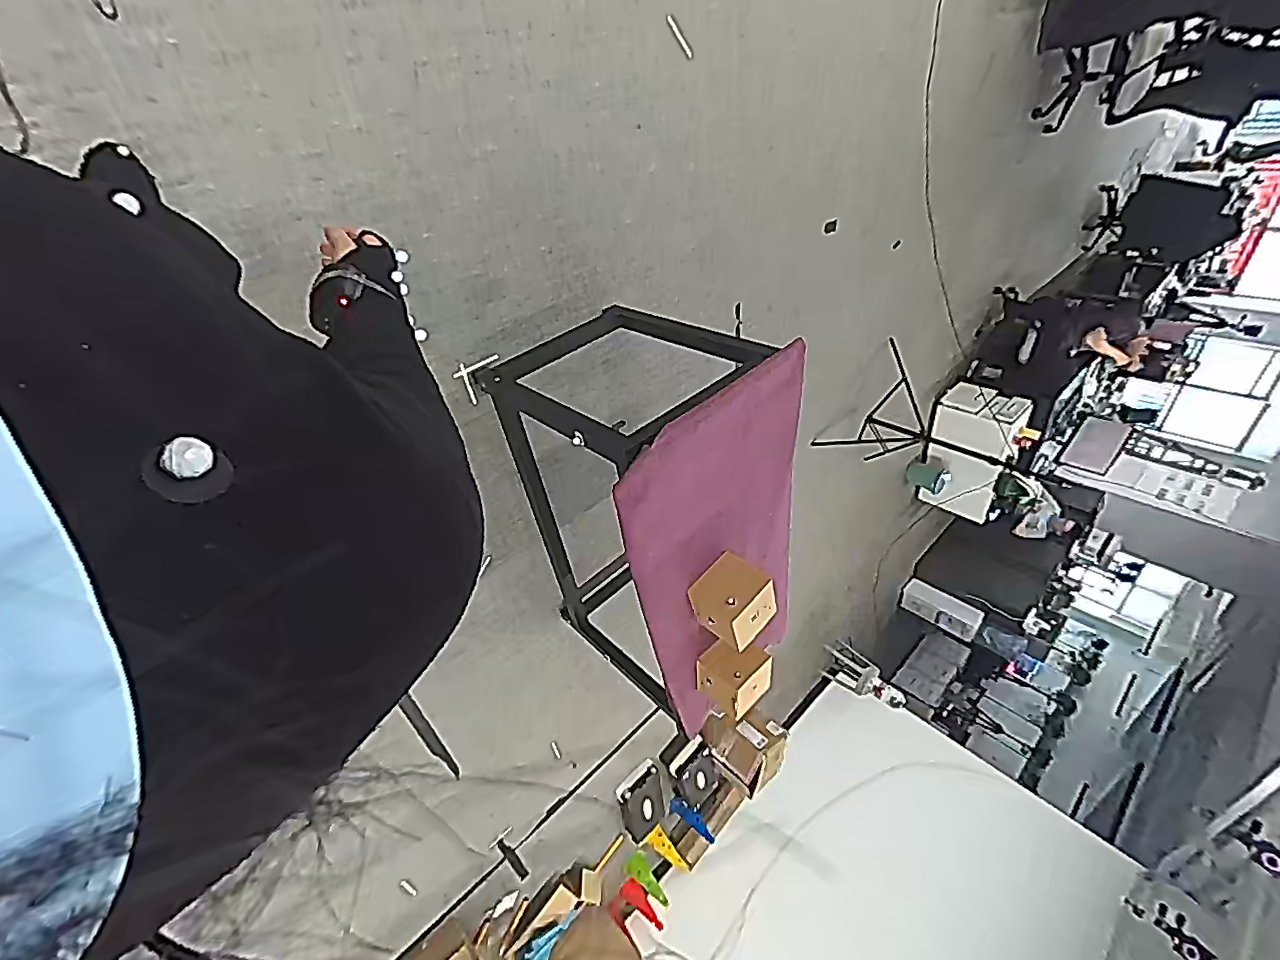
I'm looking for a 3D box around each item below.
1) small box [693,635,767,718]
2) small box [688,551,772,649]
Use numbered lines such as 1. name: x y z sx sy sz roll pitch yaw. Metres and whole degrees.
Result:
1. small box: 0.290 0.620 1.757 0.179 0.176 0.168 -31 132 -32
2. small box: 0.255 0.342 1.555 0.179 0.176 0.168 -41 137 -23
